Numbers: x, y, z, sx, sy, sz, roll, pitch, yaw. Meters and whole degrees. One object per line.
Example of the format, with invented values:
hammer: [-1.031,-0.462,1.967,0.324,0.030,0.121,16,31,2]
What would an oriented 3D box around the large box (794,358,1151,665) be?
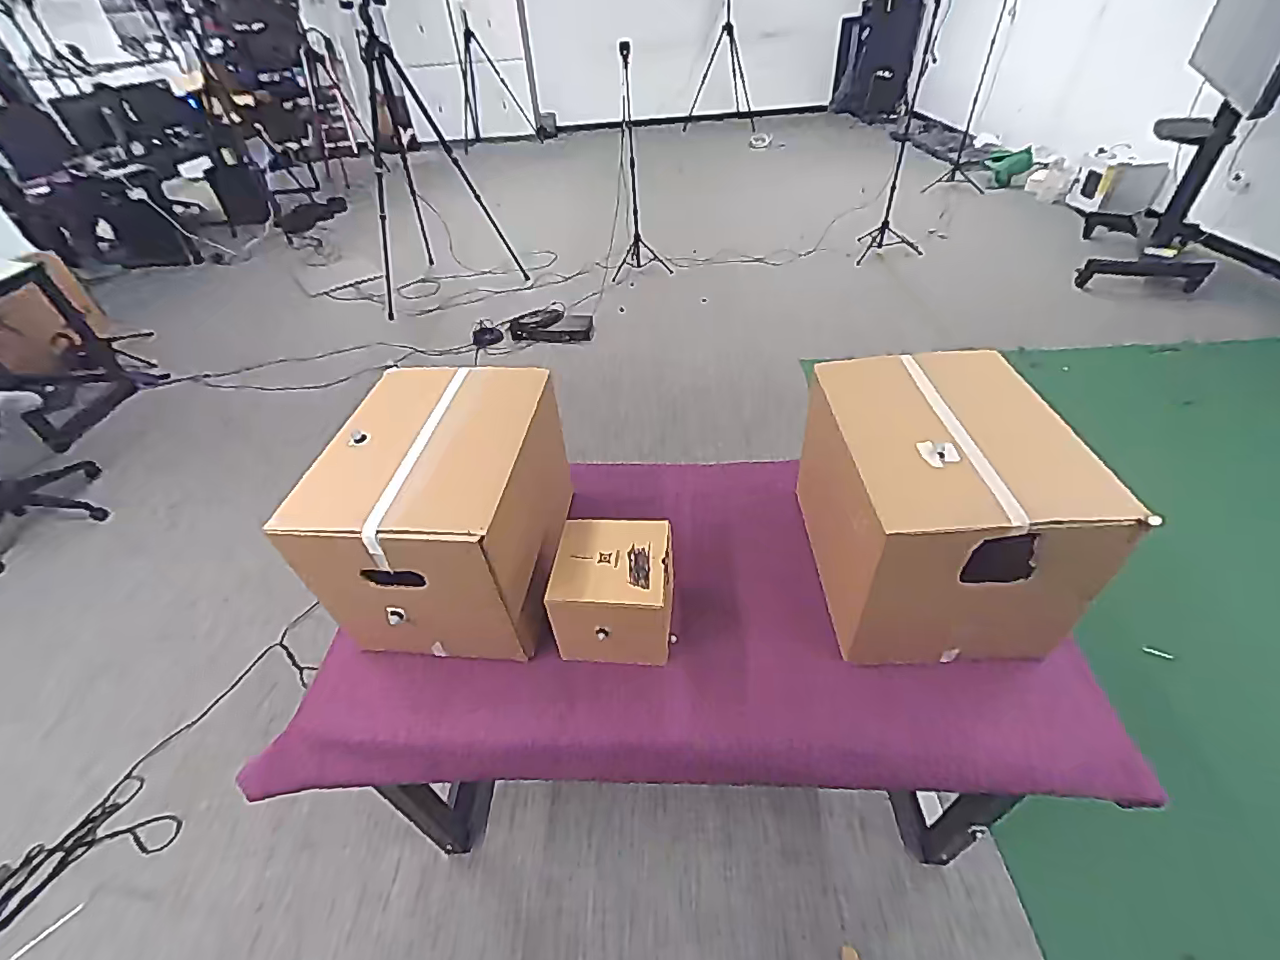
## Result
large box: [0.462,0.042,0.888,0.320,0.320,0.408,-4,42,4]
